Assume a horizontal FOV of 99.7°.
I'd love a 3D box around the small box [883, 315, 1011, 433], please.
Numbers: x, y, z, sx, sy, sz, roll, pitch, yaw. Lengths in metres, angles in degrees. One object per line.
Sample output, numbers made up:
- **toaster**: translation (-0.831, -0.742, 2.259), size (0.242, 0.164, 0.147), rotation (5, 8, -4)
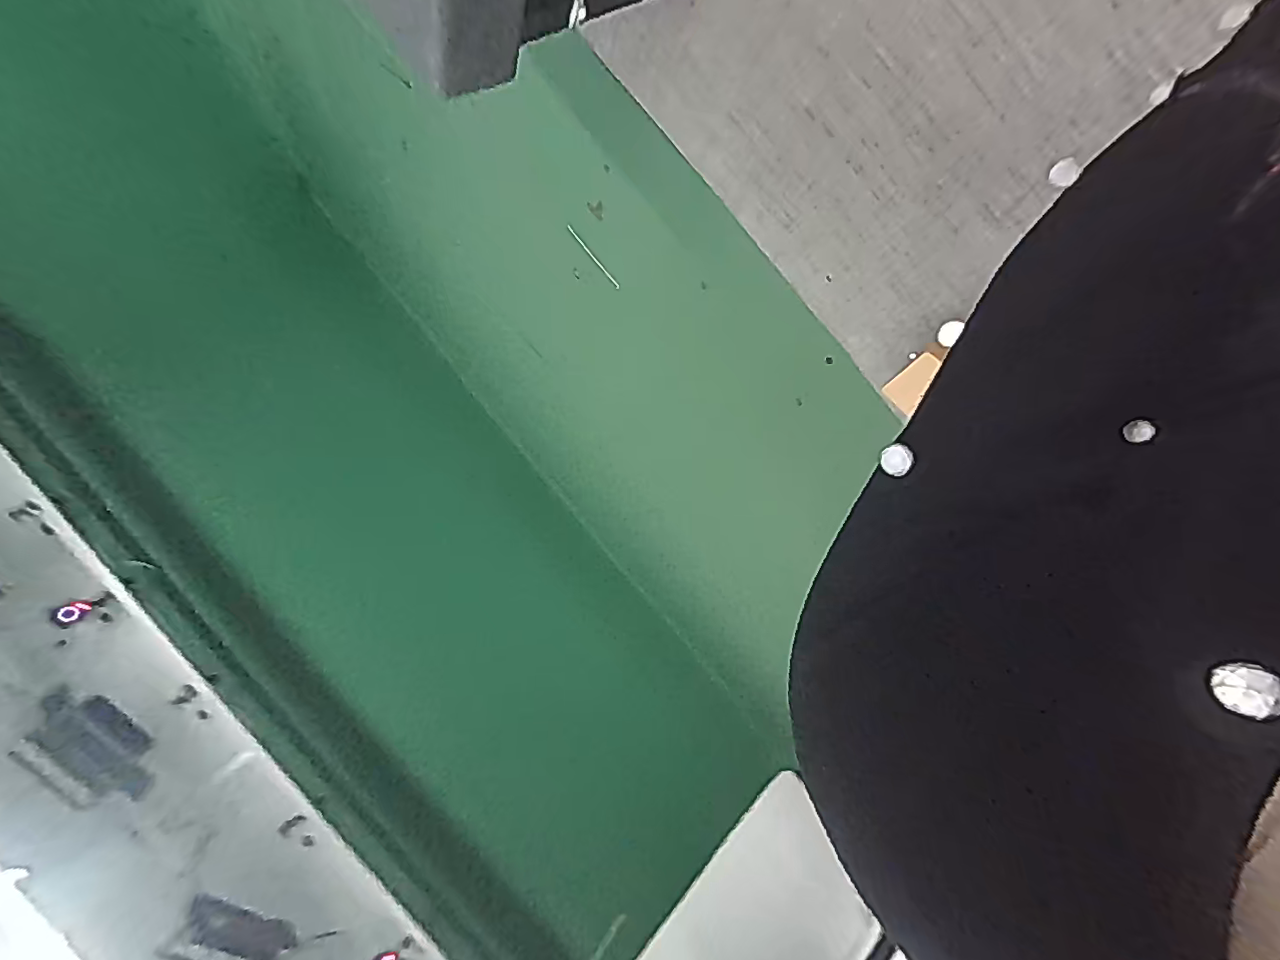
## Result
- **small box**: translation (0.716, -0.246, 1.255), size (0.168, 0.176, 0.179), rotation (47, 158, 7)
